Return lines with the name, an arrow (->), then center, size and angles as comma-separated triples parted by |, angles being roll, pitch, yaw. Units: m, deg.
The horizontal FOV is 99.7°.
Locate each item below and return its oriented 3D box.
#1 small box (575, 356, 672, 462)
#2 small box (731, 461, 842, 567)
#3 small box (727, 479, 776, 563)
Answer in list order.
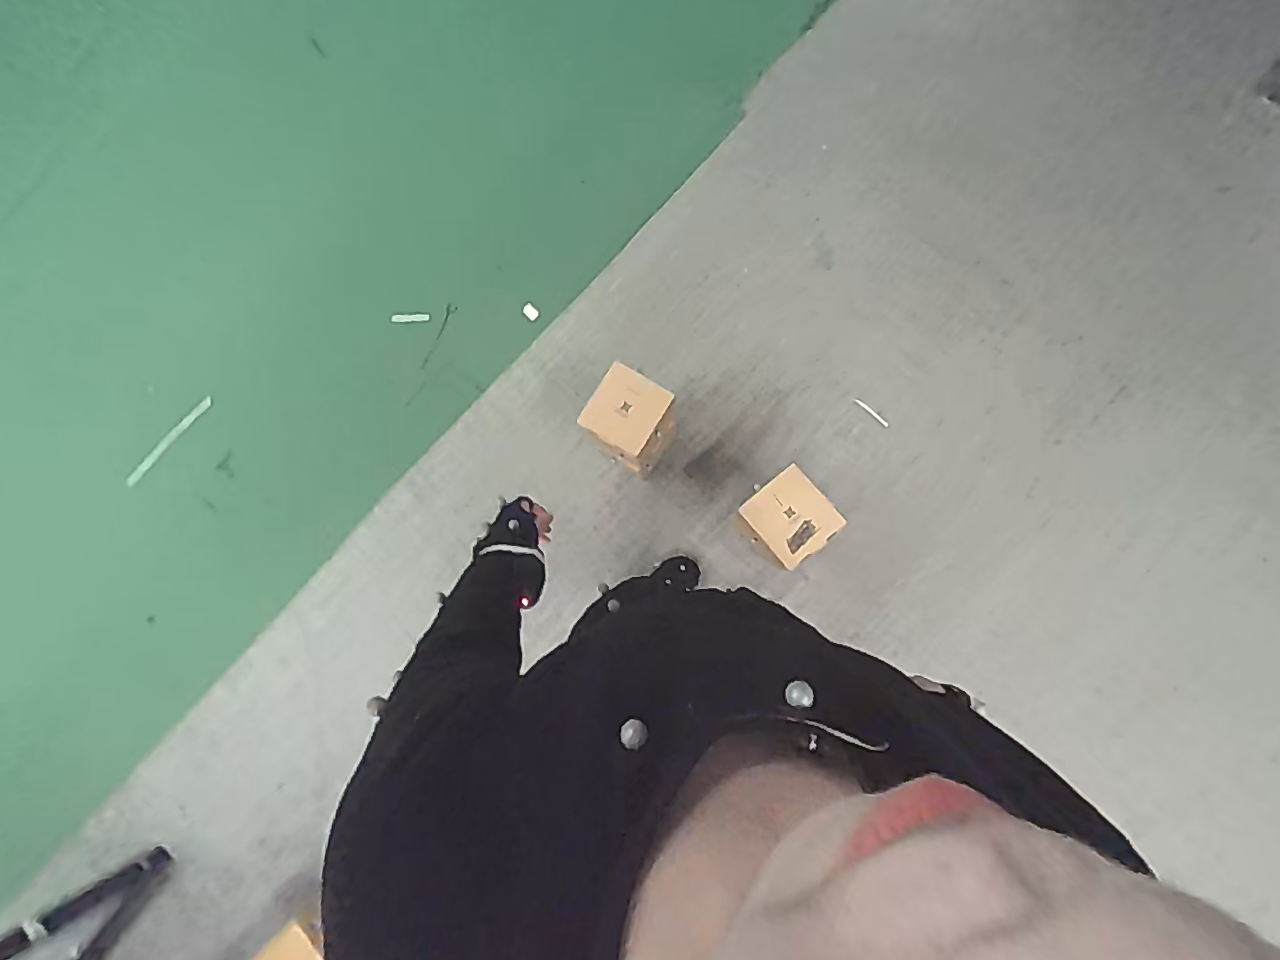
small box -> -0.031, -0.162, 1.312 | 0.168, 0.176, 0.179 | 32, 86, 7
small box -> 0.329, 0.081, 1.251 | 0.168, 0.176, 0.179 | -39, 80, -1
small box -> 0.348, 0.096, 1.415 | 0.168, 0.176, 0.179 | -40, 82, -2
